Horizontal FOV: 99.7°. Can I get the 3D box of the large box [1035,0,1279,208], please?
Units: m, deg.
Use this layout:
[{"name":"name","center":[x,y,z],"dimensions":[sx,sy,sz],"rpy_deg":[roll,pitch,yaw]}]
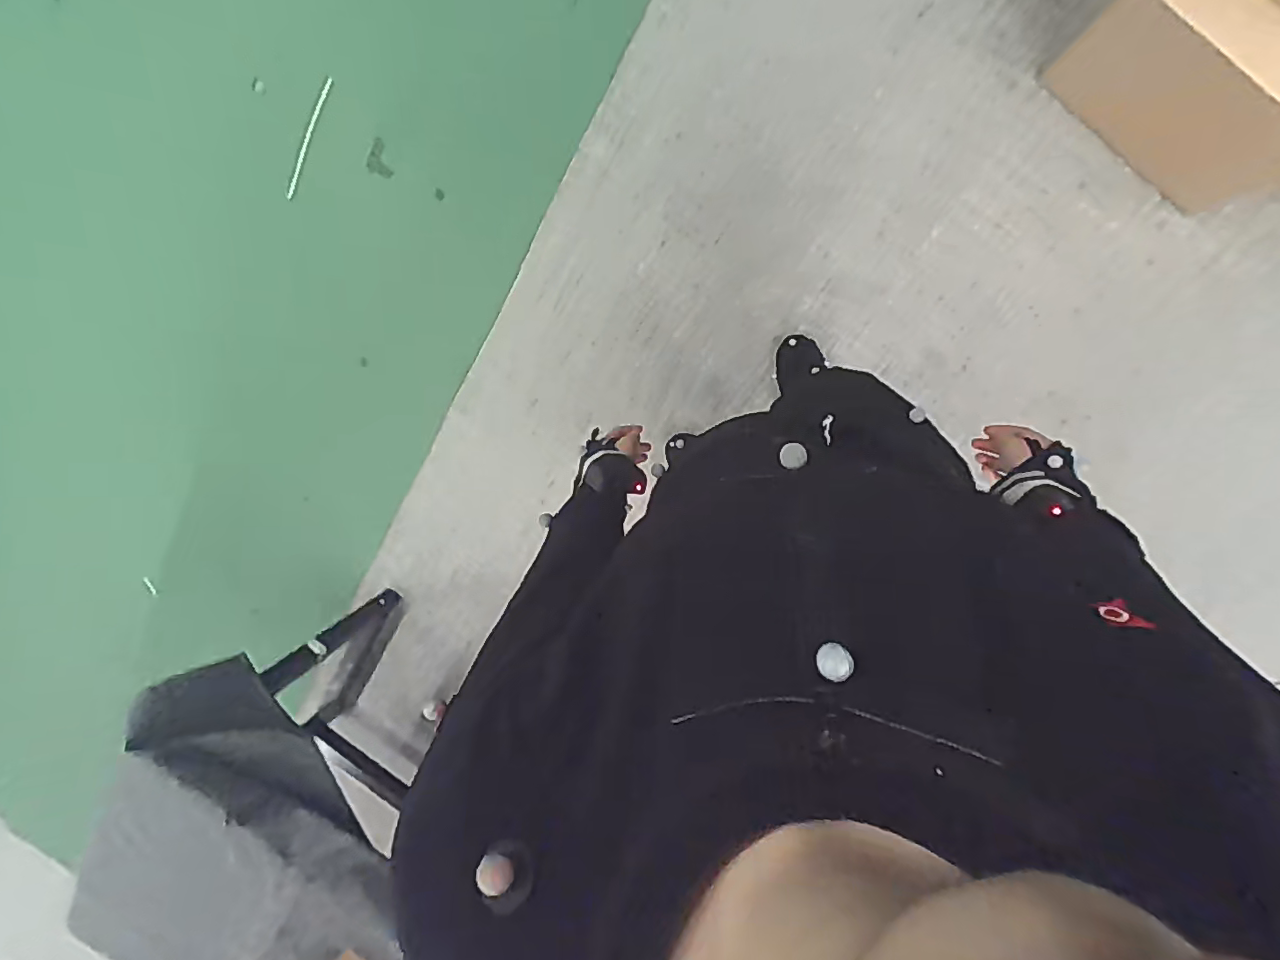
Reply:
[{"name":"large box","center":[0.970,-0.721,0.860],"dimensions":[0.408,0.320,0.320],"rpy_deg":[40,109,0]}]
